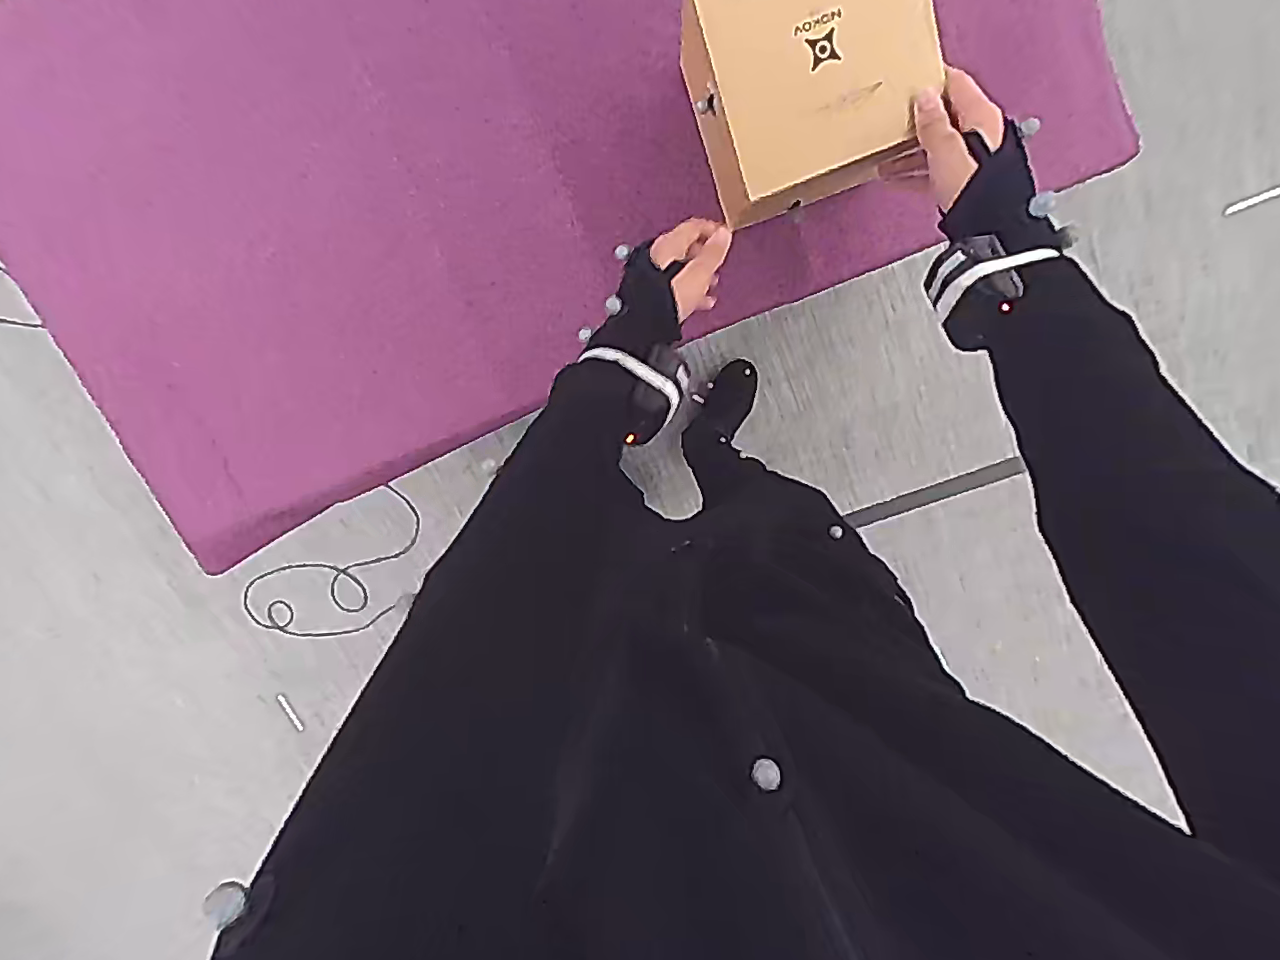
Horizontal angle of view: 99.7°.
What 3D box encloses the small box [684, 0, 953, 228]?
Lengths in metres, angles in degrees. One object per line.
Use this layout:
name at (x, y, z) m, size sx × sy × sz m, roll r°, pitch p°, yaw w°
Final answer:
small box at (0.140, -0.352, 0.481) m, size 0.168 × 0.176 × 0.179 m, roll -17°, pitch 104°, yaw 8°
